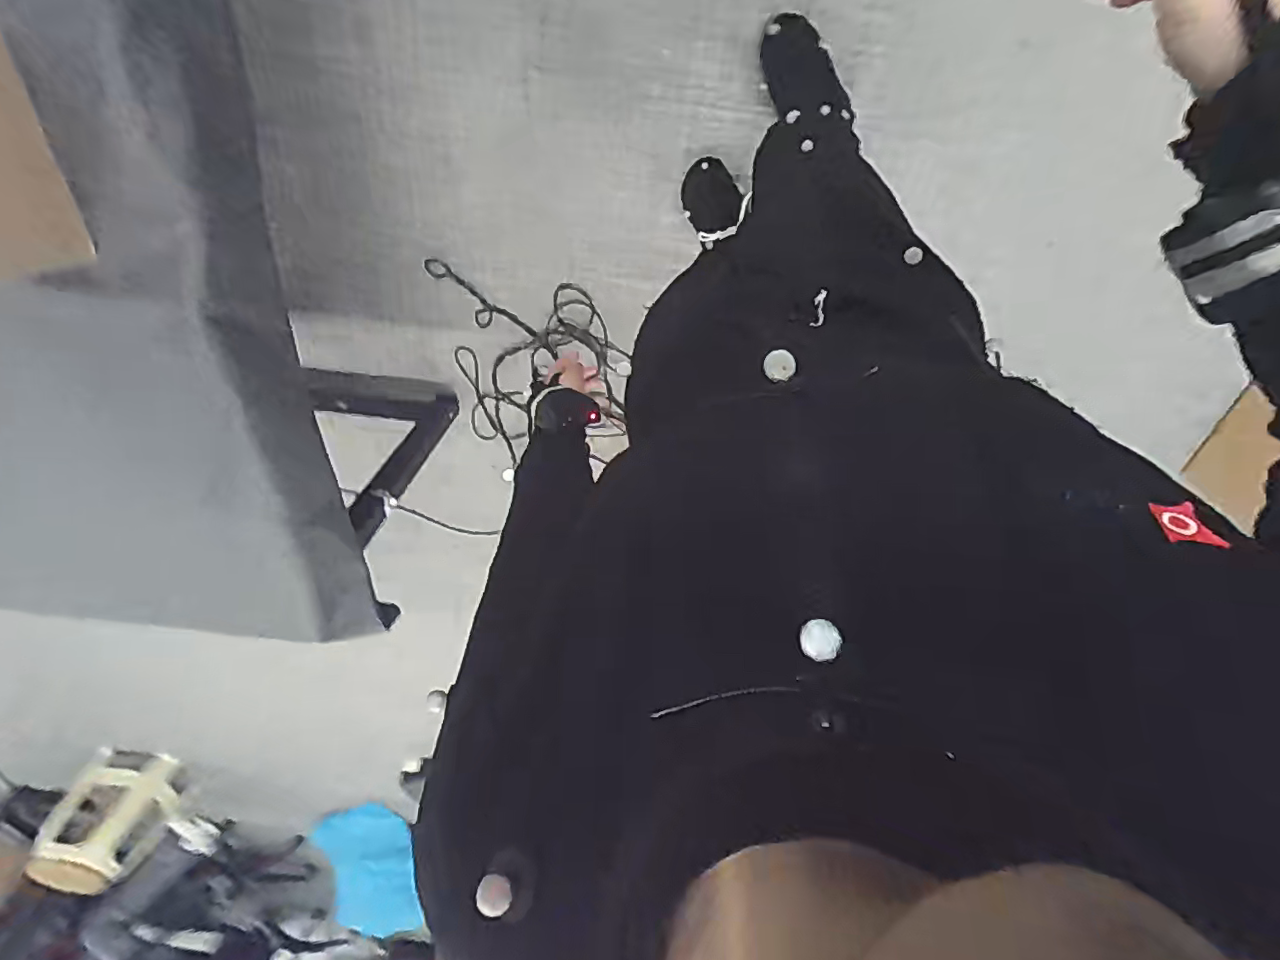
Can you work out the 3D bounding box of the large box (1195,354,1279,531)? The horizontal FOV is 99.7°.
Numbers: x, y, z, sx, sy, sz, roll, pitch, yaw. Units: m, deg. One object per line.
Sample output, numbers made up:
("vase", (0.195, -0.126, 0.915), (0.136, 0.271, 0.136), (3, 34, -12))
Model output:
("large box", (1.593, -0.094, 1.177), (0.320, 0.320, 0.408), (5, 125, 1))
